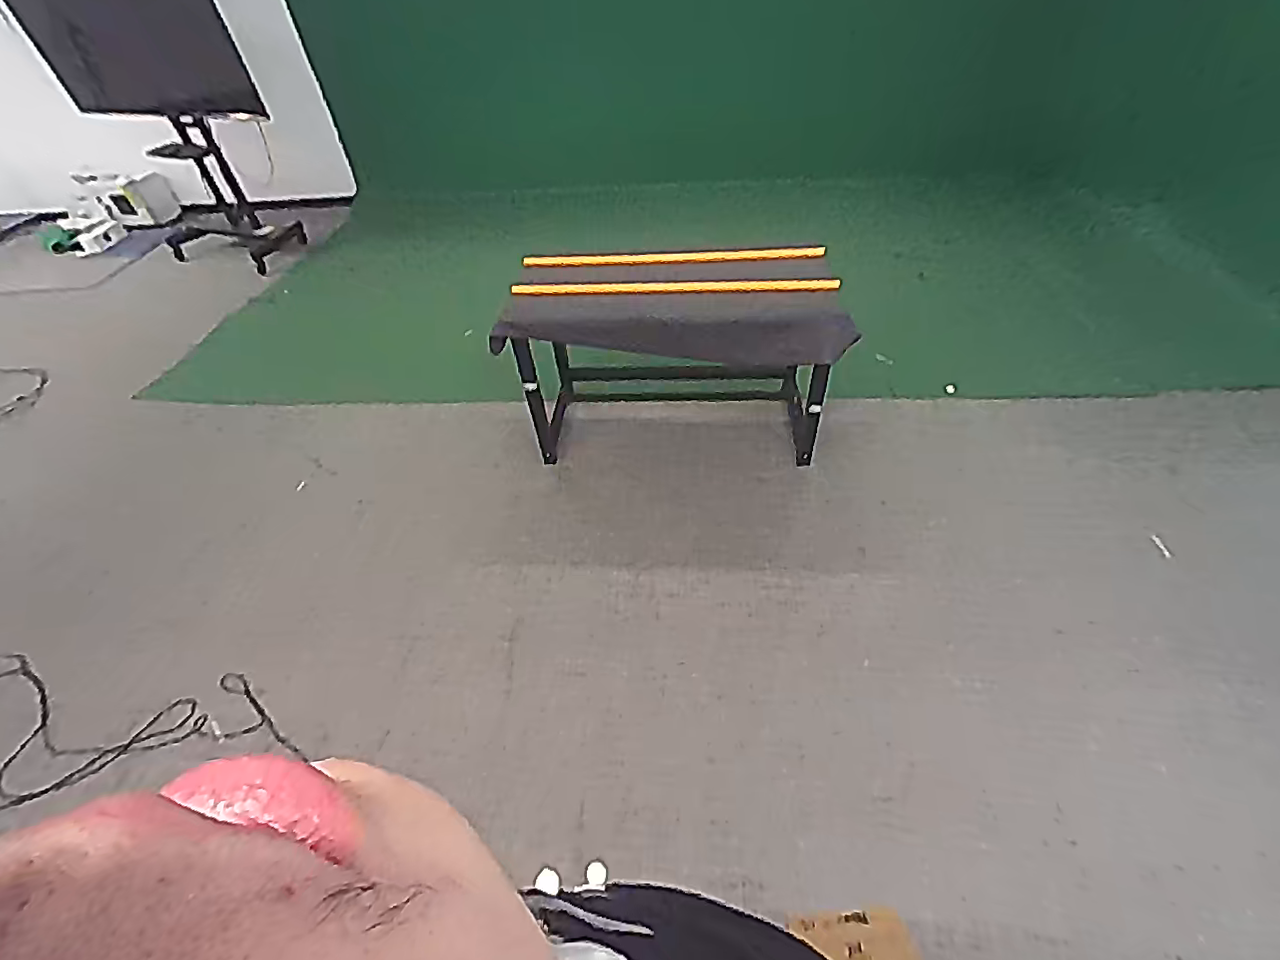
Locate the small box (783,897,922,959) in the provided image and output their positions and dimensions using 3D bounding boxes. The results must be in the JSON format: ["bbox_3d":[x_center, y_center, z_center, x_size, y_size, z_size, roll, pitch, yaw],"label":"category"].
[{"bbox_3d":[0.309,0.723,0.729,0.168,0.179,0.176,-12,85,2],"label":"small box"}]
